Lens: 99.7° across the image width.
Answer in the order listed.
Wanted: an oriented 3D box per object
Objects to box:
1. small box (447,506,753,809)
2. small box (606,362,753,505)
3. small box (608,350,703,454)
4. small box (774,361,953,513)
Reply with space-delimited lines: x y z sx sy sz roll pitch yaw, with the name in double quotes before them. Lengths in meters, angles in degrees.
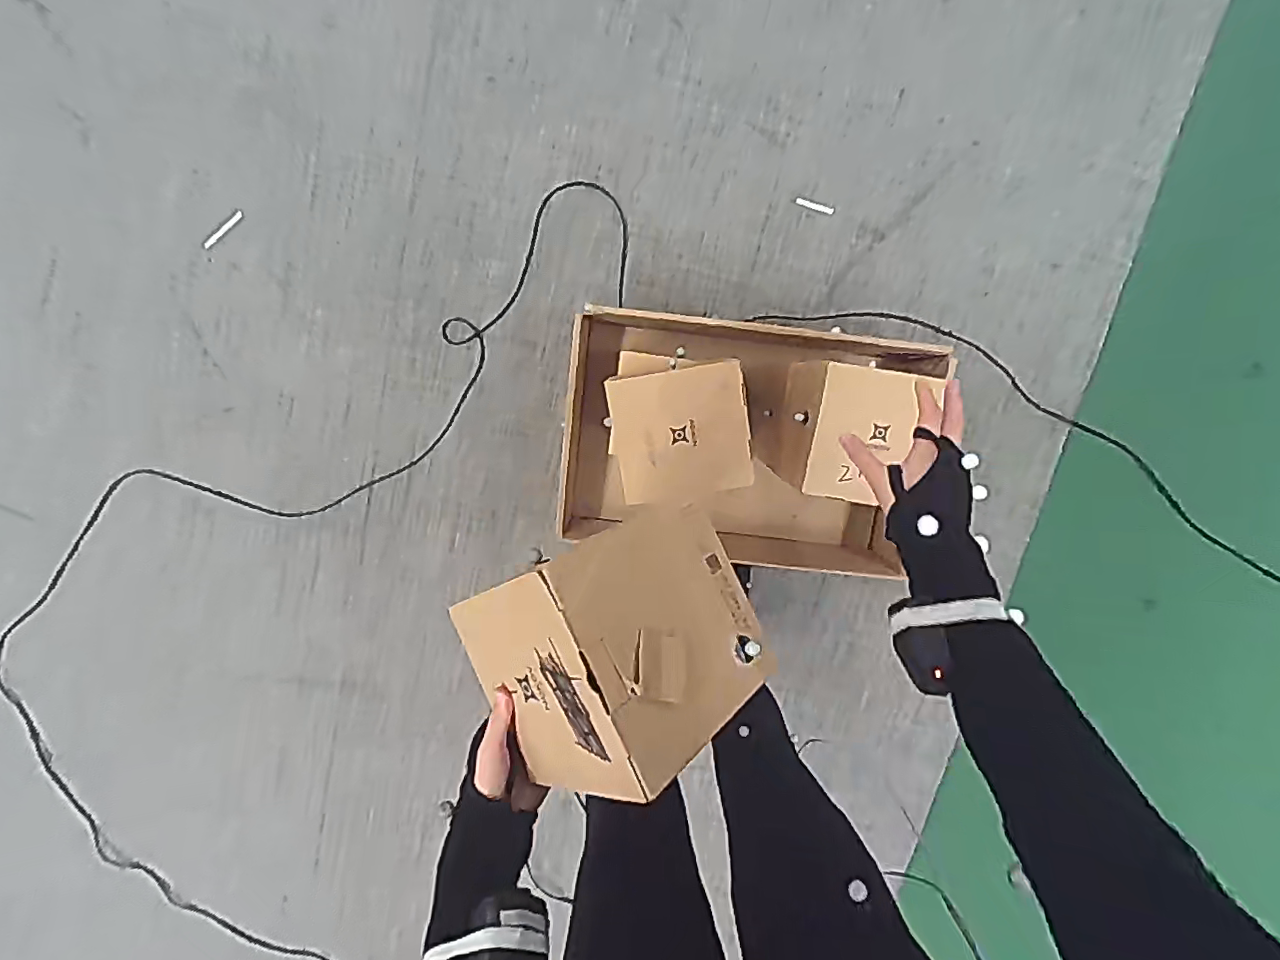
"small box" -0.028 0.138 0.461 0.179 0.176 0.168 -28 87 48
"small box" 0.051 -0.075 0.773 0.179 0.176 0.168 -9 103 1
"small box" 0.044 -0.126 0.928 0.179 0.176 0.168 7 102 -2
"small box" 0.302 -0.068 0.770 0.168 0.176 0.179 9 102 -1
